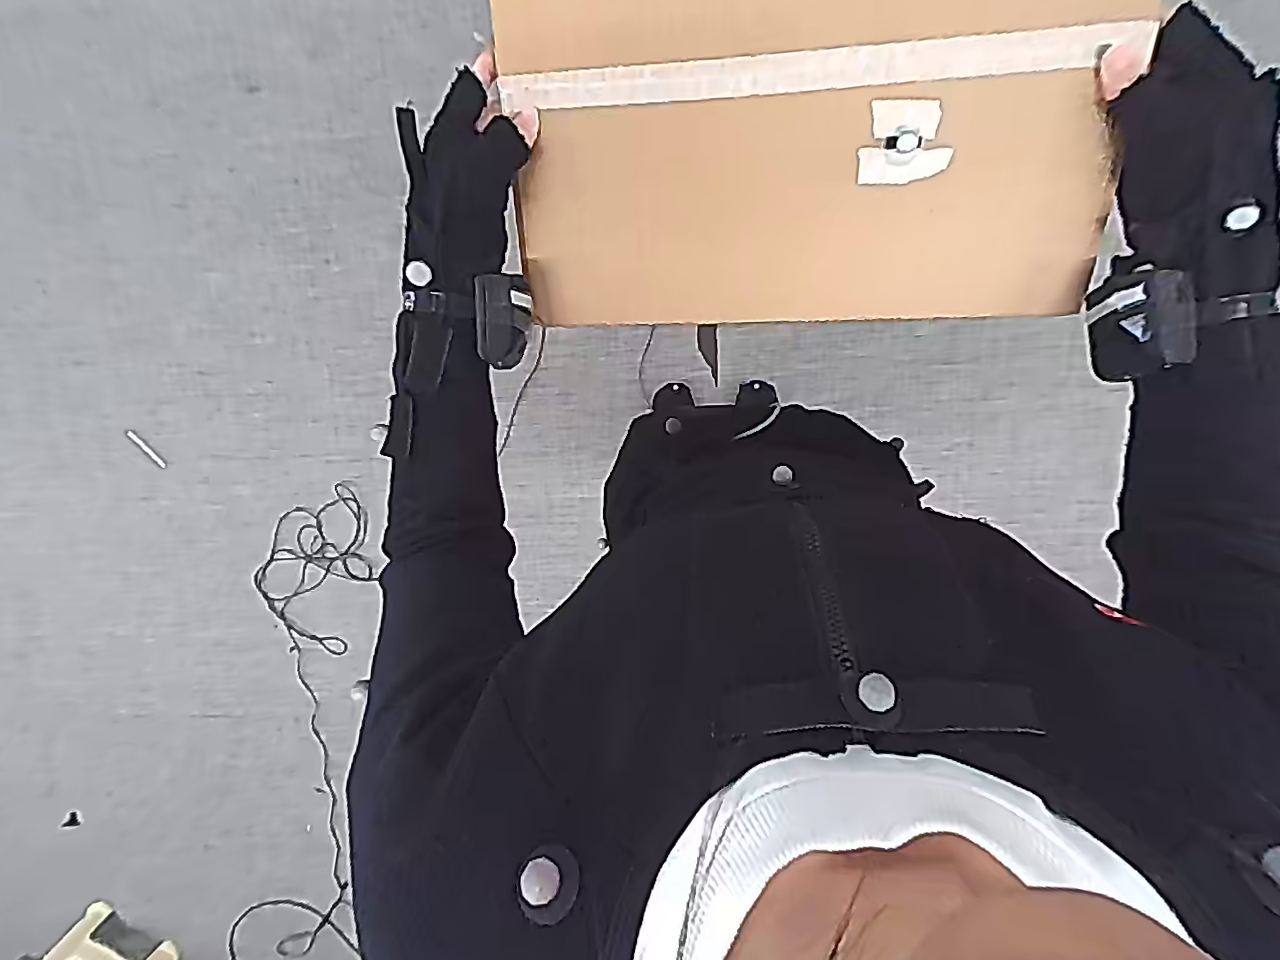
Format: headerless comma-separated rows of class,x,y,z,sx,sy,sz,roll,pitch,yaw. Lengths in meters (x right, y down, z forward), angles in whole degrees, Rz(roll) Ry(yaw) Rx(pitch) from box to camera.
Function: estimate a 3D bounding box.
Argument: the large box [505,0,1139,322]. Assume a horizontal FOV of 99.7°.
large box,0.123,-0.330,0.498,0.408,0.320,0.320,0,114,7
